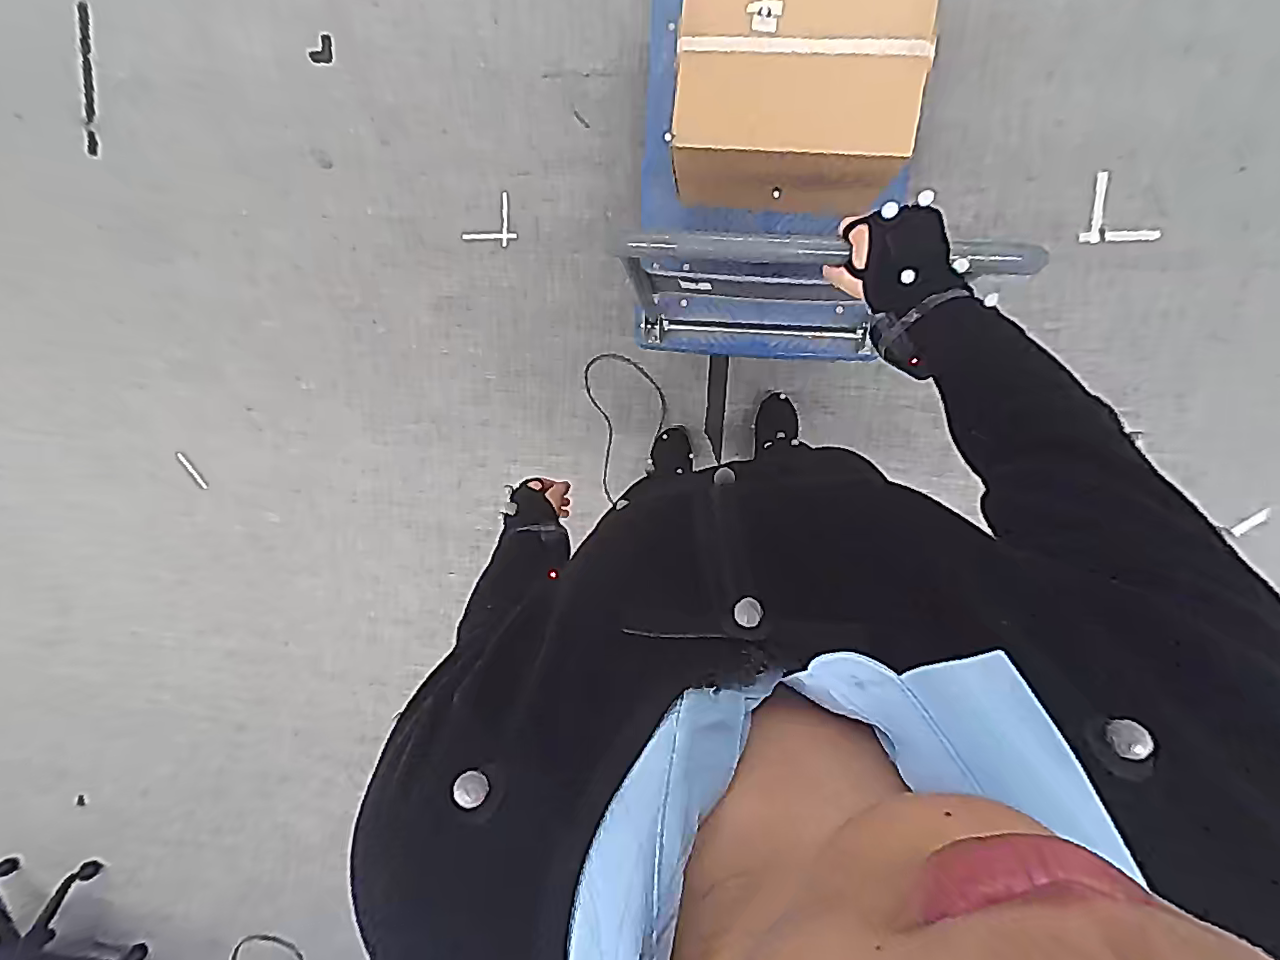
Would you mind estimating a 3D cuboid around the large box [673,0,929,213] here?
[{"bbox_3d":[0.286,-0.734,1.053,0.408,0.320,0.320,6,98,7],"label":"large box"}]
